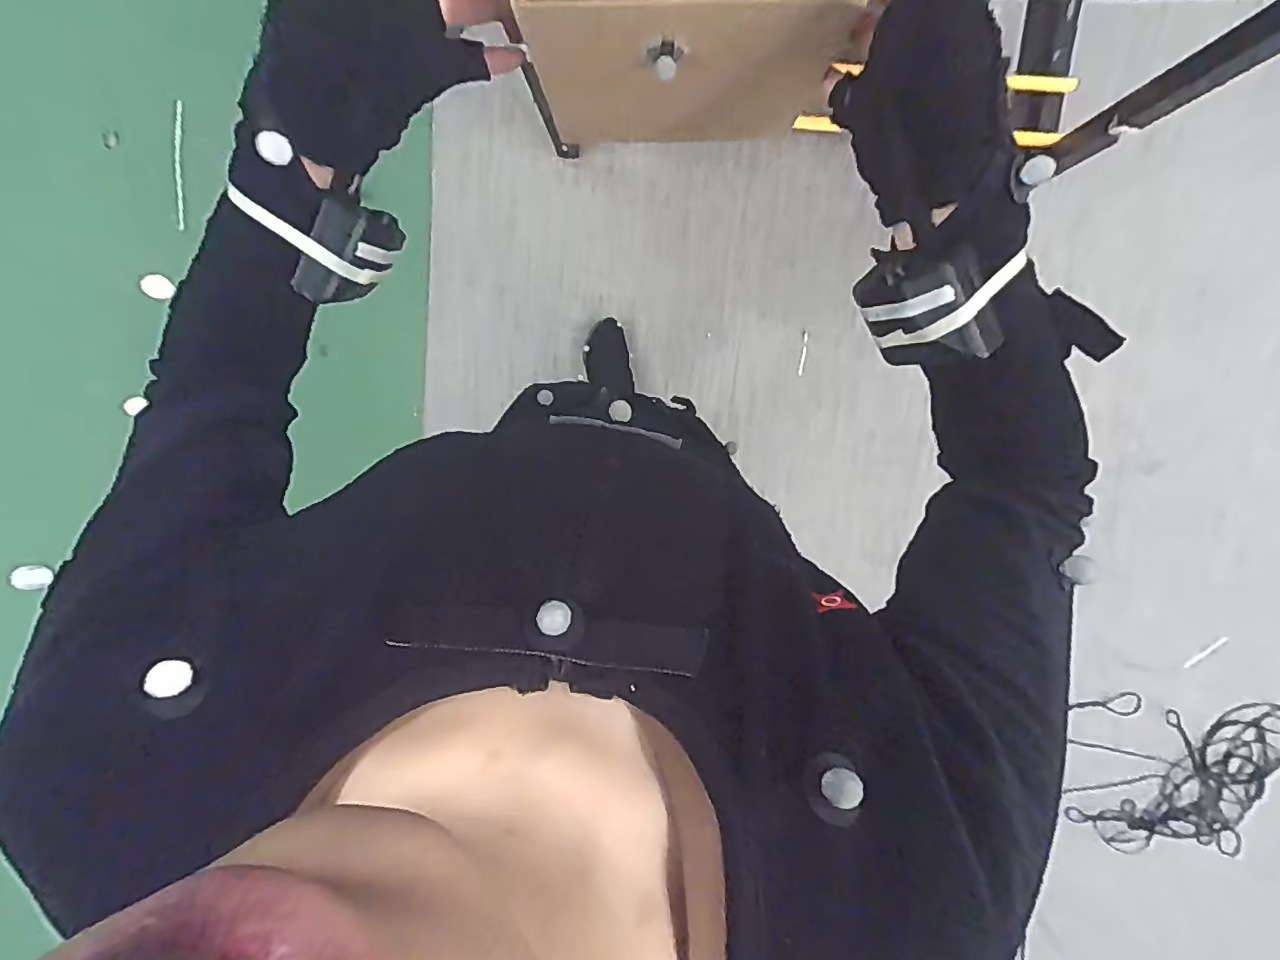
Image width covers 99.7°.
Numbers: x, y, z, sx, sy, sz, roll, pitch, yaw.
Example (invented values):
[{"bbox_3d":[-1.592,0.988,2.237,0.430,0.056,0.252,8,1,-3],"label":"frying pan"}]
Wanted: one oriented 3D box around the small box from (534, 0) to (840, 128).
[{"bbox_3d":[0.026,-0.337,0.327,0.179,0.176,0.168,-1,102,0],"label":"small box"}]
